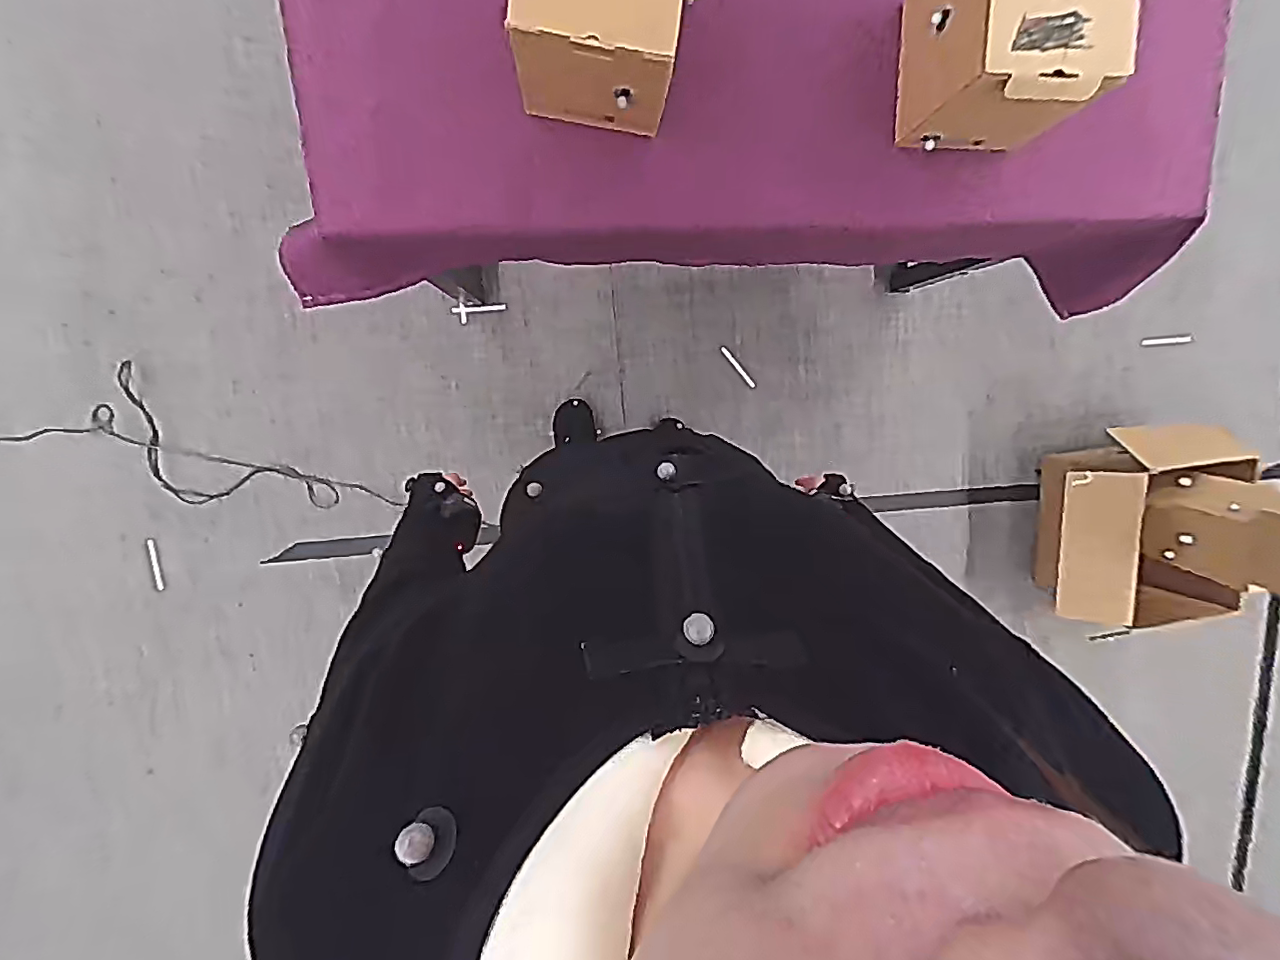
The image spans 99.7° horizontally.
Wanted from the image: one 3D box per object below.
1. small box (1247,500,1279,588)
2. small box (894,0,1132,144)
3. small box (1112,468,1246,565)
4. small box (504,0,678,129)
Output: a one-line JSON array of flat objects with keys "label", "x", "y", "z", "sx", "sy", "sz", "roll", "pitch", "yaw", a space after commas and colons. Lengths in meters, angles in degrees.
[{"label": "small box", "x": 1.349, "y": 0.131, "z": 1.047, "sx": 0.168, "sy": 0.176, "sz": 0.179, "roll": -11, "pitch": 104, "yaw": 1}, {"label": "small box", "x": 0.418, "y": -0.518, "z": 0.627, "sx": 0.168, "sy": 0.176, "sz": 0.179, "roll": -1, "pitch": 99, "yaw": -5}, {"label": "small box", "x": 1.358, "y": 0.082, "z": 1.374, "sx": 0.168, "sy": 0.176, "sz": 0.179, "roll": -25, "pitch": 104, "yaw": 3}, {"label": "small box", "x": -0.045, "y": -0.519, "z": 0.585, "sx": 0.168, "sy": 0.176, "sz": 0.179, "roll": 7, "pitch": 99, "yaw": -7}]
